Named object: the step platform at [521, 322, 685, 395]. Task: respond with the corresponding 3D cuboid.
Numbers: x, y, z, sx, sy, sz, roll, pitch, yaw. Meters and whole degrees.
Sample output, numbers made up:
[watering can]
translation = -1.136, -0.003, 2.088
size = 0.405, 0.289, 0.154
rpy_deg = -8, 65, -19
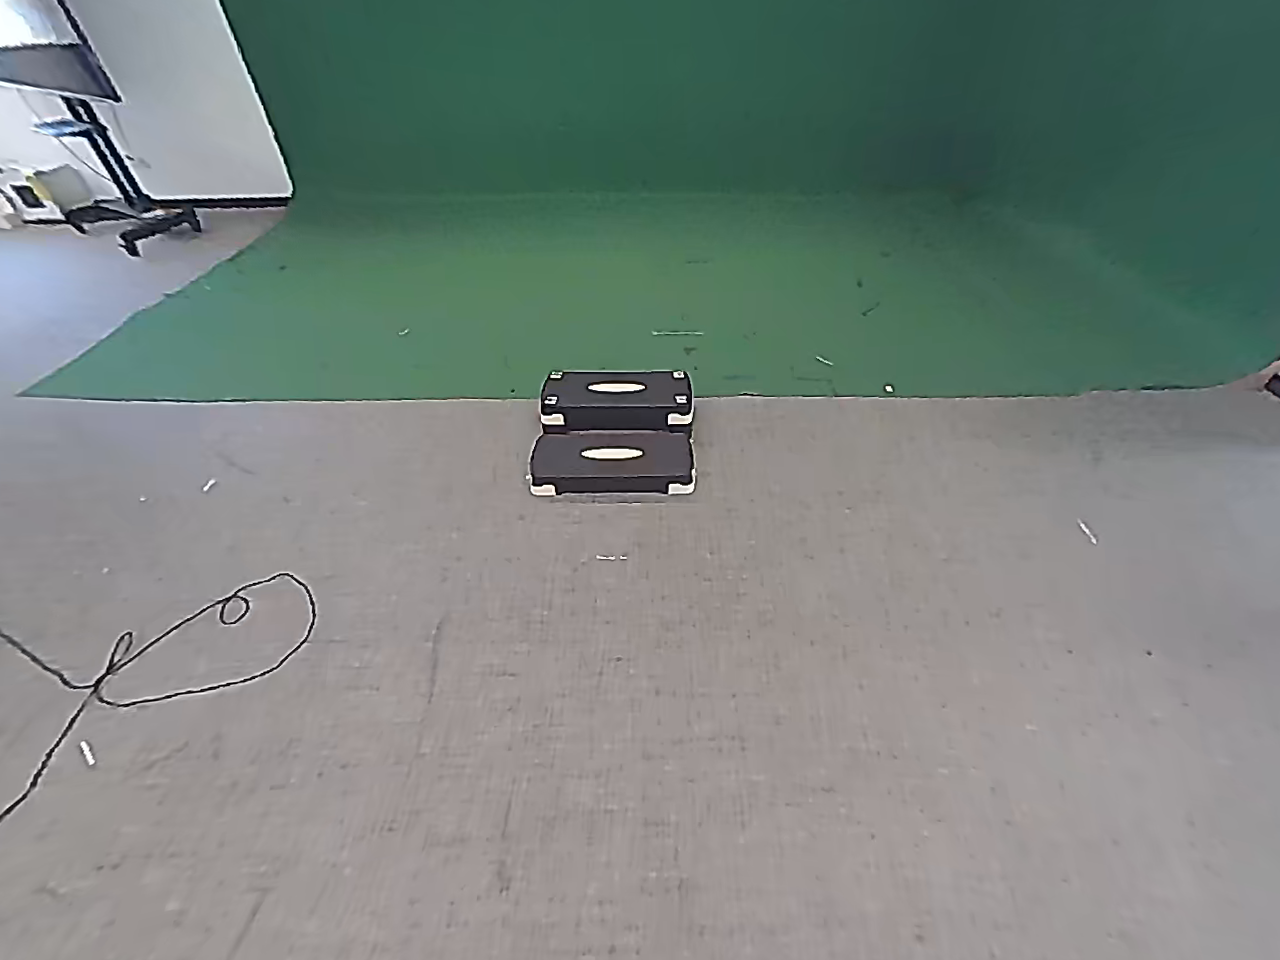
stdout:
[step platform]
translation = -0.152, -0.522, 2.325
size = 0.684, 0.204, 0.286
rpy_deg = -1, 44, 1
